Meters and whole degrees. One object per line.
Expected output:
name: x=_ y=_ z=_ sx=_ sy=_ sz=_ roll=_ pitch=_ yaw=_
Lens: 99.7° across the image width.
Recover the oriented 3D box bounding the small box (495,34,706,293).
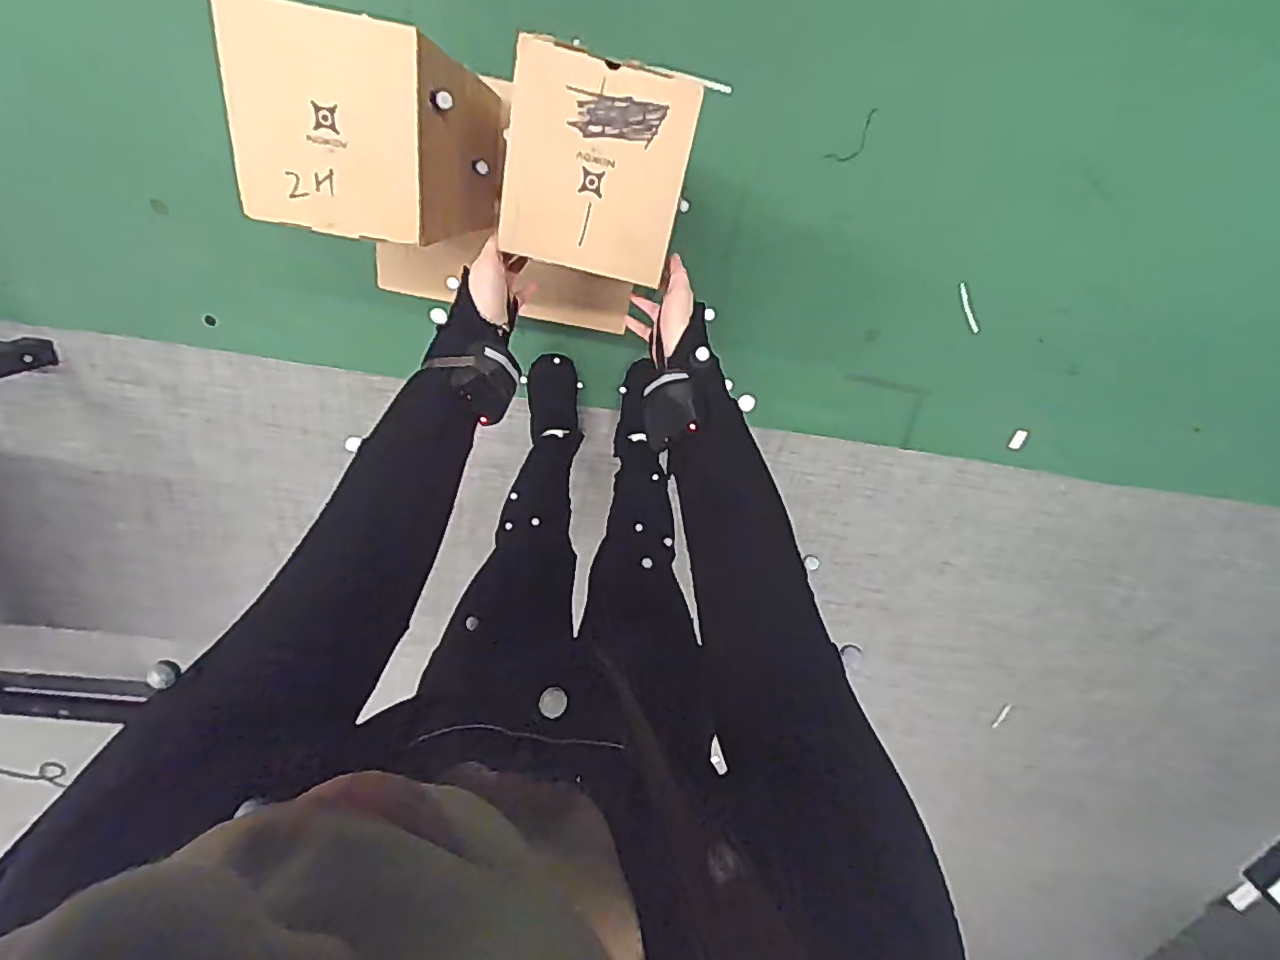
small box: x=-0.041 y=-0.313 z=0.563 sx=0.168 sy=0.176 sz=0.179 roll=12 pitch=117 yaw=-5

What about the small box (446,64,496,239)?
small box: x=-0.286 y=-0.423 z=0.693 sx=0.168 sy=0.176 sz=0.179 roll=9 pitch=116 yaw=-6

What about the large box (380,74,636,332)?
large box: x=-0.194 y=-0.471 z=0.941 sx=0.408 sy=0.320 sz=0.320 roll=9 pitch=117 yaw=-6

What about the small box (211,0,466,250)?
small box: x=-0.282 y=-0.345 z=0.547 sx=0.168 sy=0.176 sz=0.179 roll=9 pitch=116 yaw=-5
